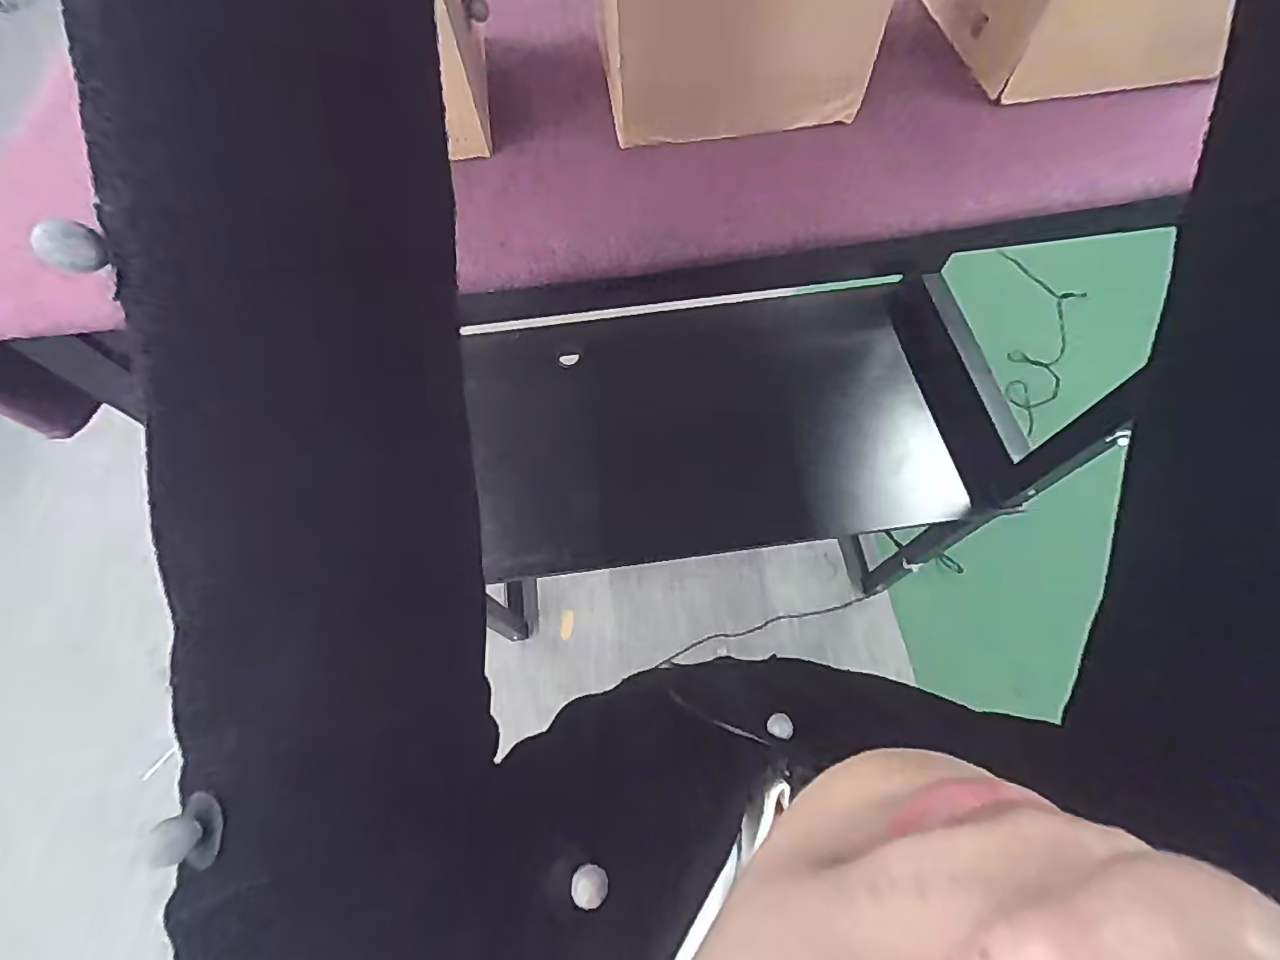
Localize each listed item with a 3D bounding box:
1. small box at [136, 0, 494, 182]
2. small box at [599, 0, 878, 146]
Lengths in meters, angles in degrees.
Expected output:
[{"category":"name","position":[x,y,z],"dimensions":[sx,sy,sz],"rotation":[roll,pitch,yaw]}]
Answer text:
[{"category":"small box","position":[-0.209,-0.329,0.359],"dimensions":[0.179,0.176,0.168],"rotation":[-9,66,-1]},{"category":"small box","position":[0.057,-0.354,0.360],"dimensions":[0.179,0.176,0.168],"rotation":[-7,65,-1]}]
